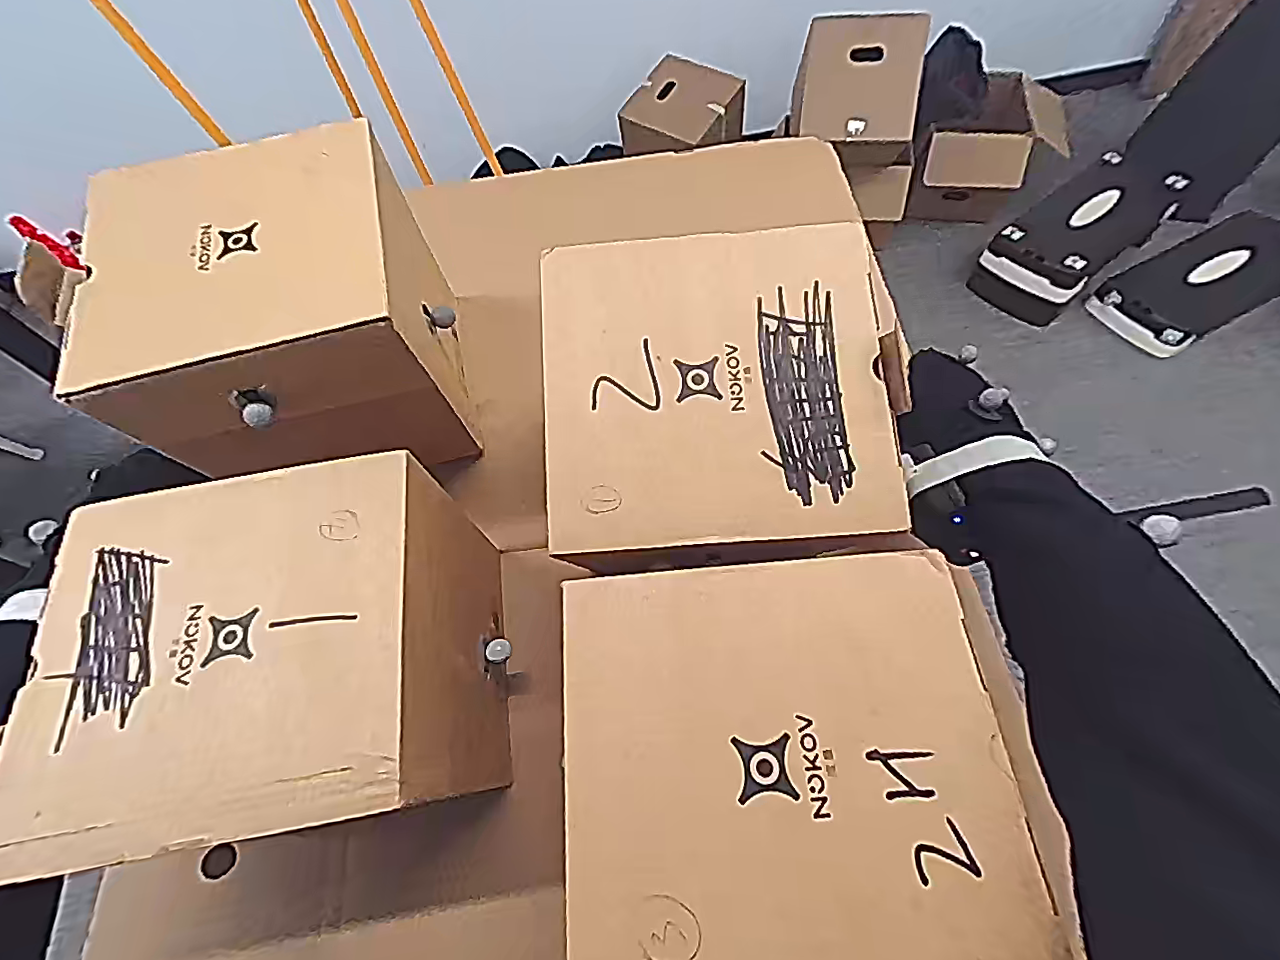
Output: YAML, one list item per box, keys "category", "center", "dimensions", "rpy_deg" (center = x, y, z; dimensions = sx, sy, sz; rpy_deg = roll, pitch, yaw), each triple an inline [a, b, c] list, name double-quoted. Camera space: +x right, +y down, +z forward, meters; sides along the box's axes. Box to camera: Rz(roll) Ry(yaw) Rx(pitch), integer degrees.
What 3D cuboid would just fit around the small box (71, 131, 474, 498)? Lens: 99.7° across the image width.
- category: "small box"
  center: [-0.233, -0.105, 0.394]
  dimensions: [0.179, 0.176, 0.168]
  rpy_deg: [-15, 67, -3]
